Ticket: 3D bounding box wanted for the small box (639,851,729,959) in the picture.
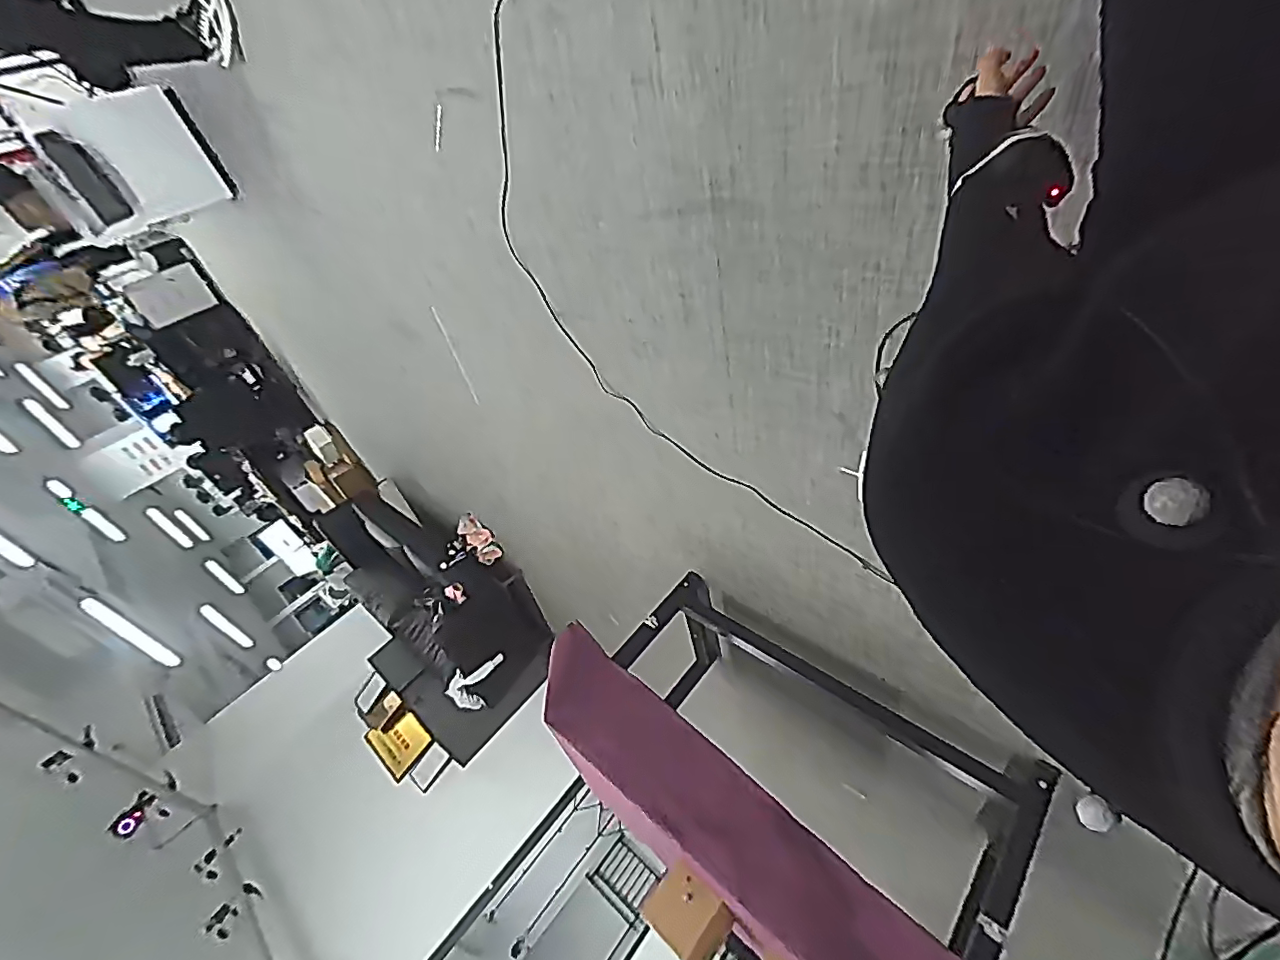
[{"bbox_3d":[0.131,1.195,1.513,0.168,0.176,0.179,18,139,42],"label":"small box"}]
